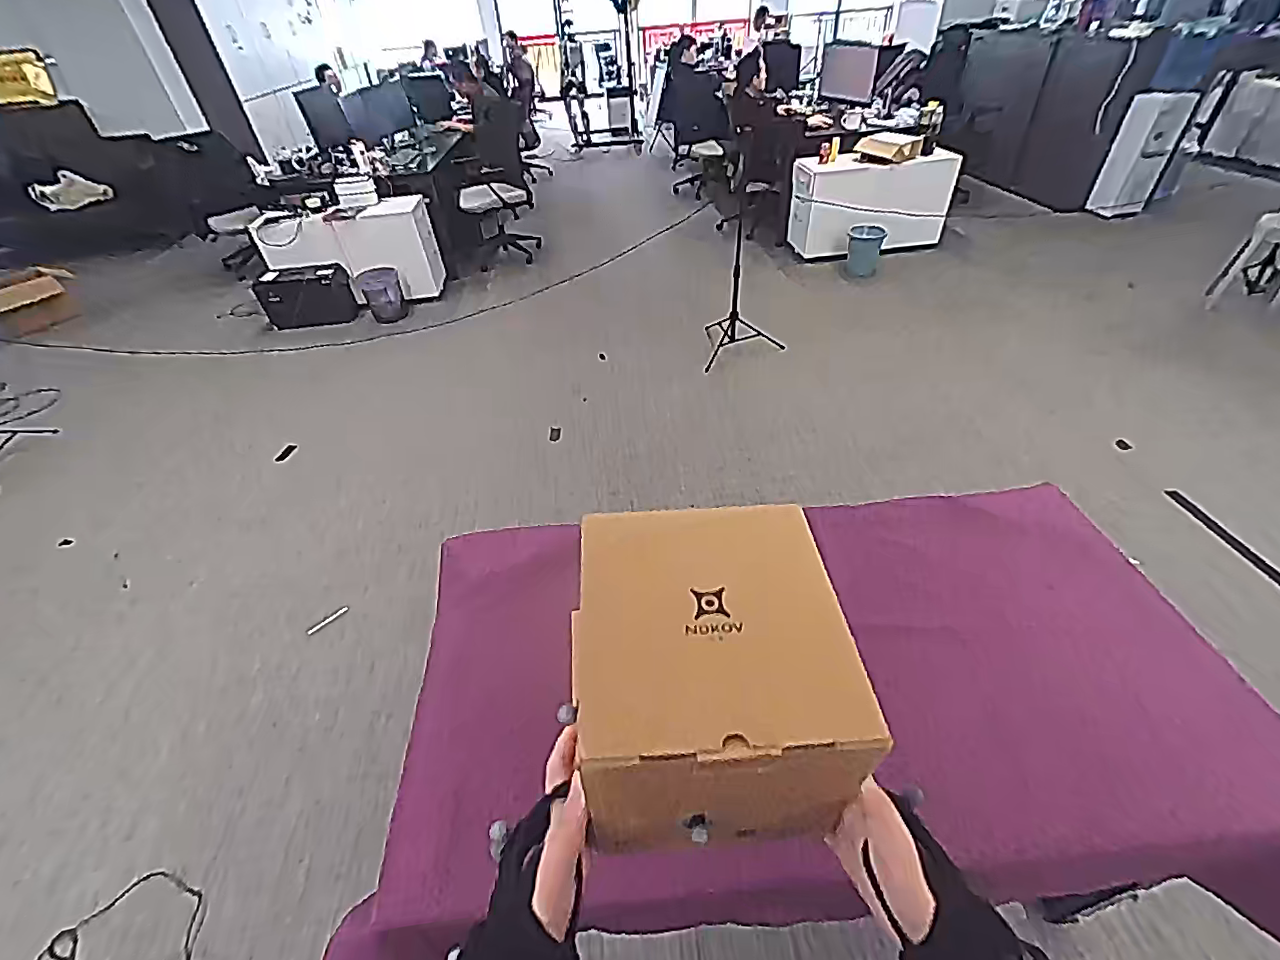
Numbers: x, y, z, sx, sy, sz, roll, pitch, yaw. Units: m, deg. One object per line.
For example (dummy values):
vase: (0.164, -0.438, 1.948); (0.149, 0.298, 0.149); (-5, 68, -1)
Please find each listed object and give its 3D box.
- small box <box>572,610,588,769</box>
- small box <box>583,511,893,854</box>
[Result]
small box: (-0.001, 0.292, 0.747); (0.168, 0.176, 0.179); (-6, 41, -2)
small box: (0.046, 0.144, 0.393); (0.168, 0.176, 0.179); (-3, 44, -3)
